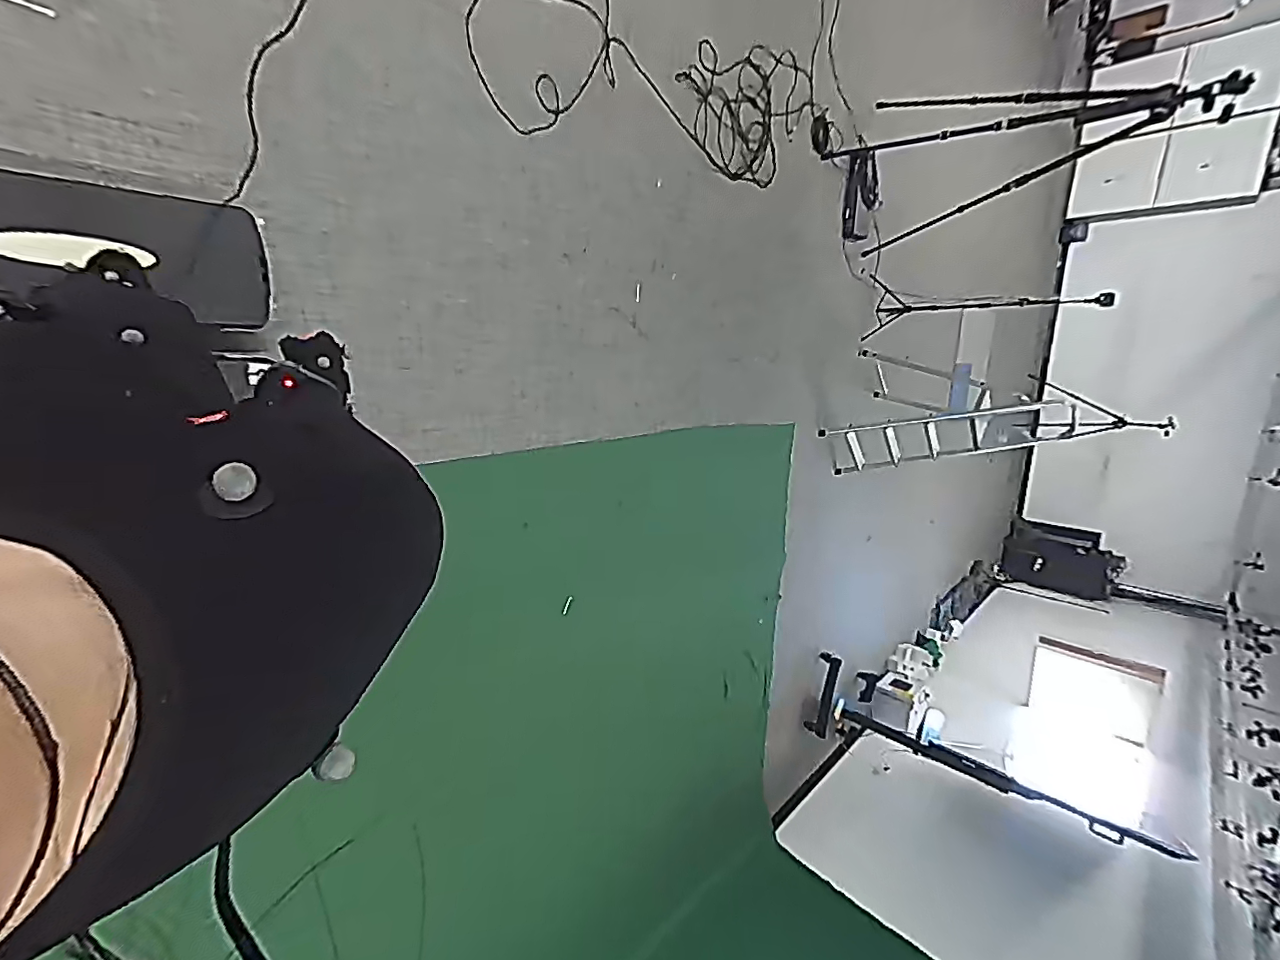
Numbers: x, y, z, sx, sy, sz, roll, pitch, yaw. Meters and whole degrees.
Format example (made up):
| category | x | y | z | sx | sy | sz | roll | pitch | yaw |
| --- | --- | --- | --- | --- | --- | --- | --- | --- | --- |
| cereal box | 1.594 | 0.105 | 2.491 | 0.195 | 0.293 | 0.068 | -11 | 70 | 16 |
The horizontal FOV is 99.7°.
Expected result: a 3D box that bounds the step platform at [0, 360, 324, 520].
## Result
| category | x | y | z | sx | sy | sz | roll | pitch | yaw |
| --- | --- | --- | --- | --- | --- | --- | --- | --- | --- |
| step platform | -1.000 | -0.080 | 1.006 | 0.684 | 0.204 | 0.286 | -12 | 108 | -45 |
